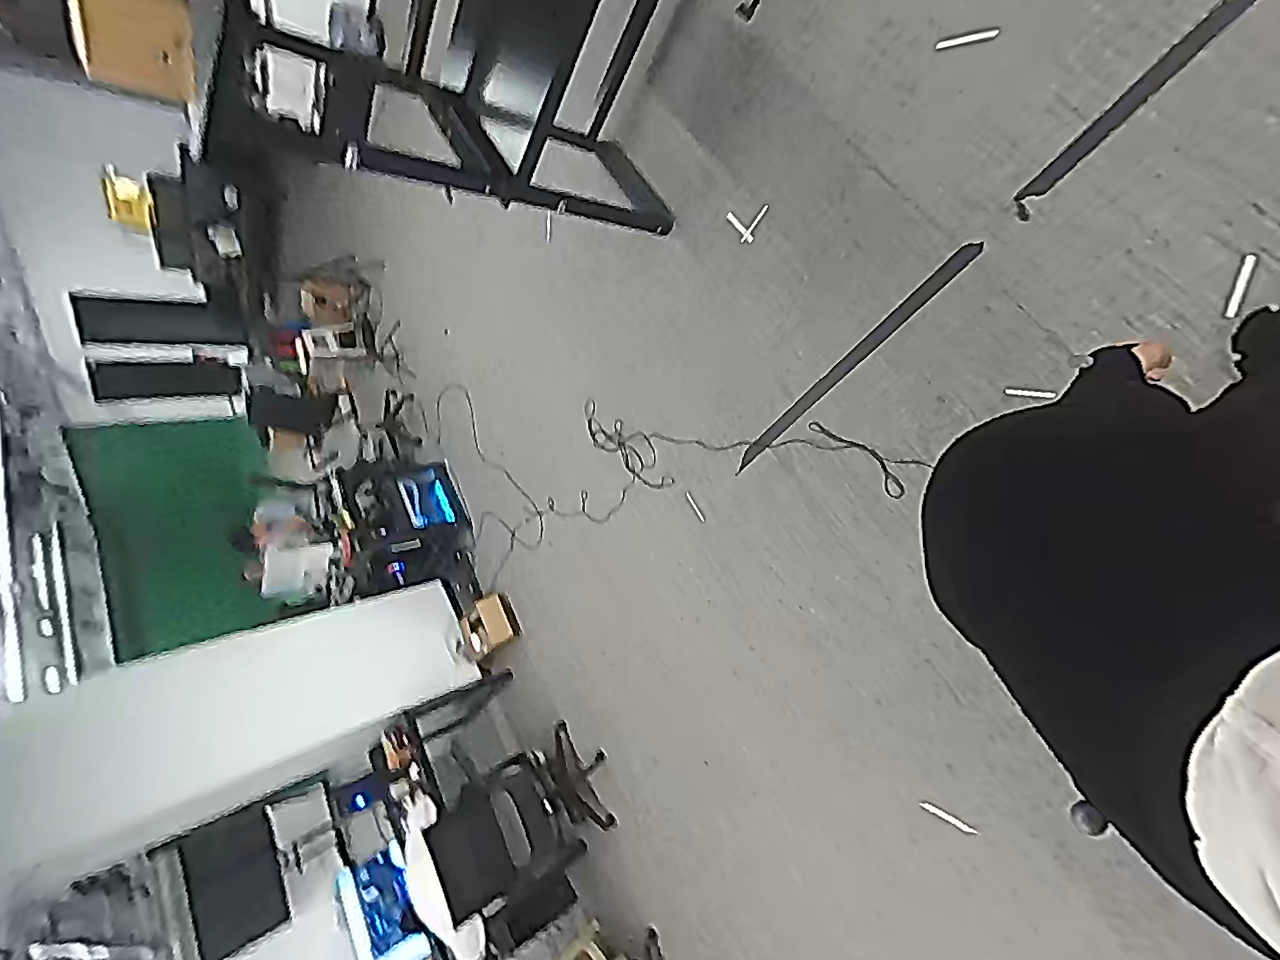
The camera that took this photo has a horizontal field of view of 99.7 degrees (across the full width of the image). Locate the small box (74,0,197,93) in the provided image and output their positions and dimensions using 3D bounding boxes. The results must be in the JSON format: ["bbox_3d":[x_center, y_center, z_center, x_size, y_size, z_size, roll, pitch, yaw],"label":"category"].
[{"bbox_3d":[-1.012,-0.919,1.084,0.179,0.176,0.168,52,131,25],"label":"small box"}]
